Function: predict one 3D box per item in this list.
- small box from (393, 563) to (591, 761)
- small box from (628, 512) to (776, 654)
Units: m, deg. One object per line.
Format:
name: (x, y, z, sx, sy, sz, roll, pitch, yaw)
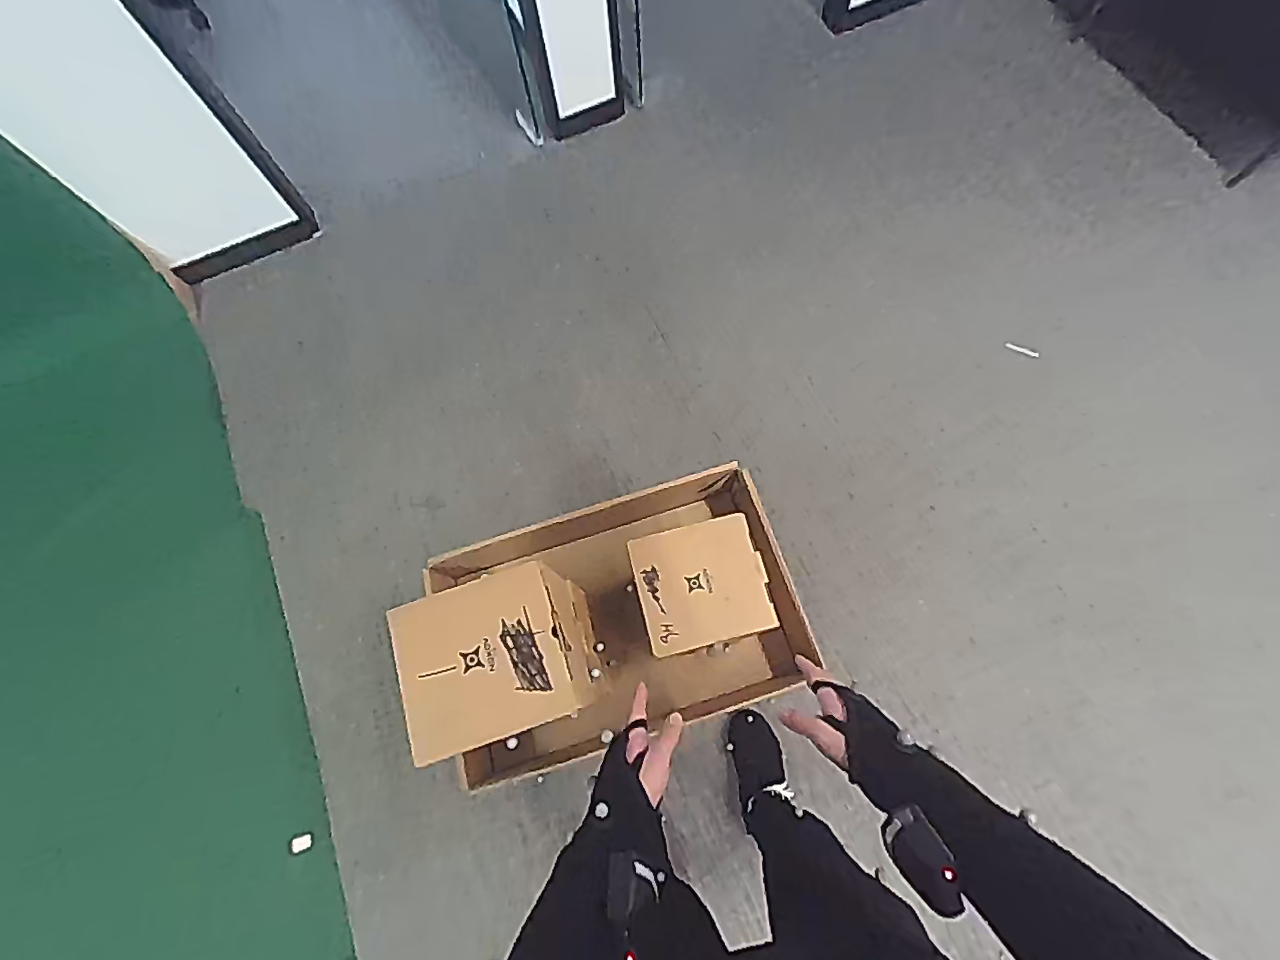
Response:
small box: (-0.166, 0.214, 0.660, 0.179, 0.176, 0.168, -19, 72, -2)
small box: (0.087, 0.162, 0.828, 0.179, 0.176, 0.168, -15, 72, 0)
